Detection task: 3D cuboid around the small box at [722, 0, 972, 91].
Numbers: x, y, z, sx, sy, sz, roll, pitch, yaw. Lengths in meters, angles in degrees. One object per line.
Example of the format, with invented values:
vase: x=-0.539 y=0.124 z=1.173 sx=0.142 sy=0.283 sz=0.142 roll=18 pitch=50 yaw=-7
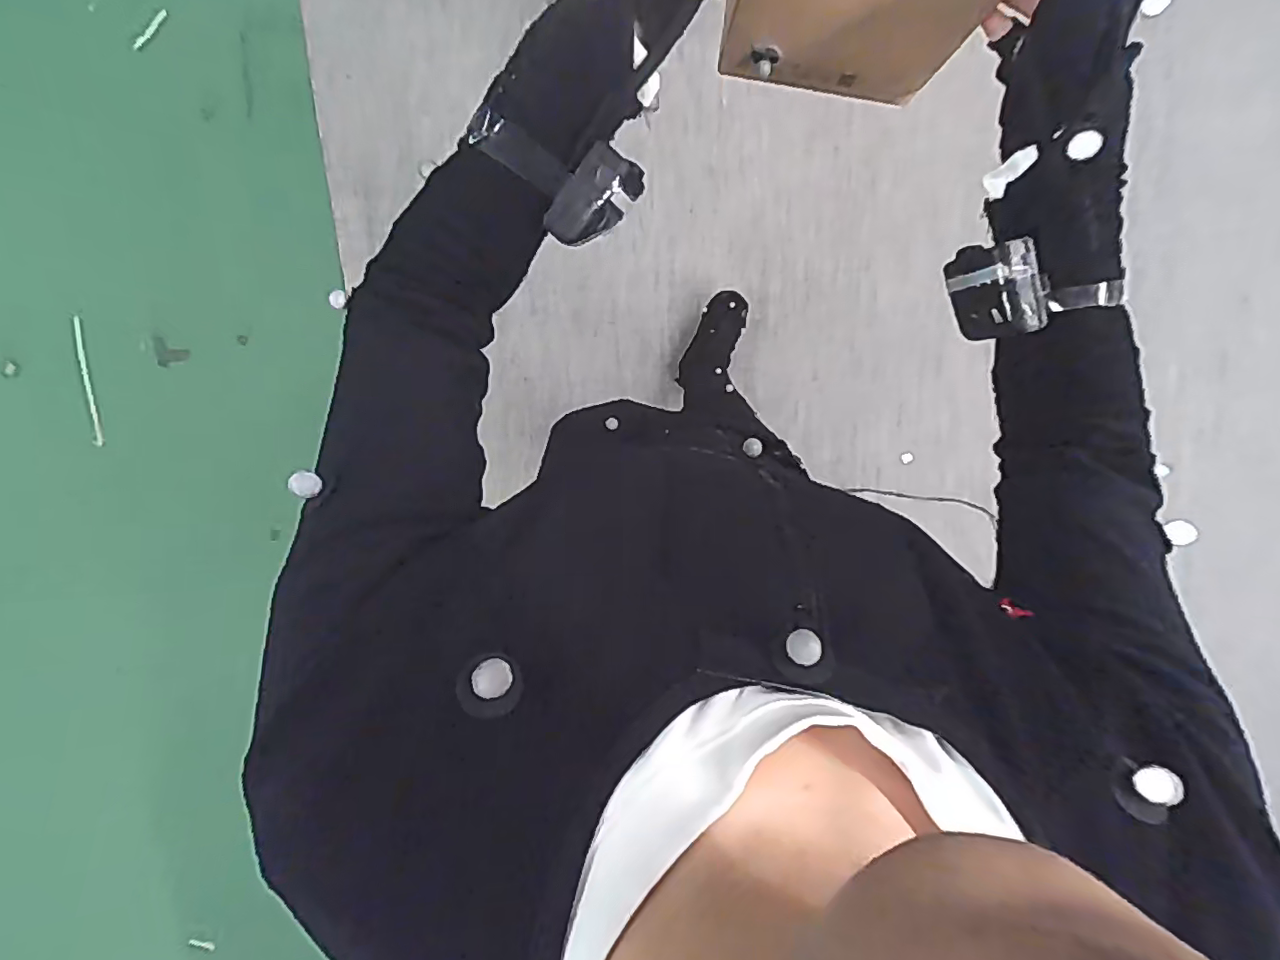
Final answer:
small box: x=0.158 y=-0.411 z=0.367 sx=0.168 sy=0.176 sz=0.179 roll=7 pitch=94 yaw=-3
